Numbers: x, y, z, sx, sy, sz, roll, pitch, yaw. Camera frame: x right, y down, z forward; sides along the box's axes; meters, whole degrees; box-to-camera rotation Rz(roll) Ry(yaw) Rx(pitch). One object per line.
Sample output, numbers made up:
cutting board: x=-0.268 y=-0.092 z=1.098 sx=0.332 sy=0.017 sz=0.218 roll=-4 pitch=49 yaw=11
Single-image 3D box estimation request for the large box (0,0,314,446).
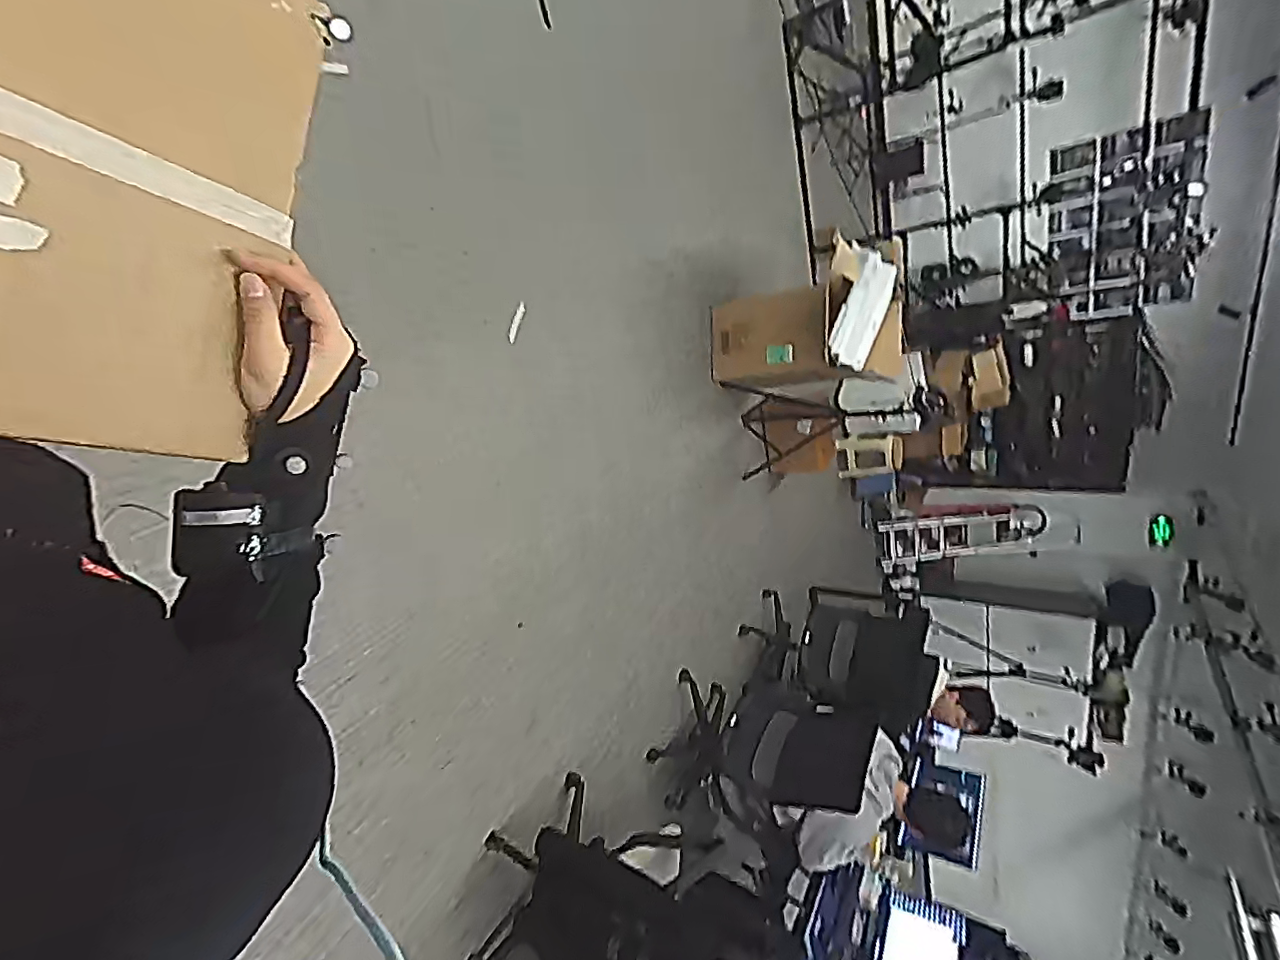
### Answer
large box: x=-0.481 y=-0.206 z=0.303 sx=0.408 sy=0.320 sz=0.320 roll=9 pitch=91 yaw=-53
